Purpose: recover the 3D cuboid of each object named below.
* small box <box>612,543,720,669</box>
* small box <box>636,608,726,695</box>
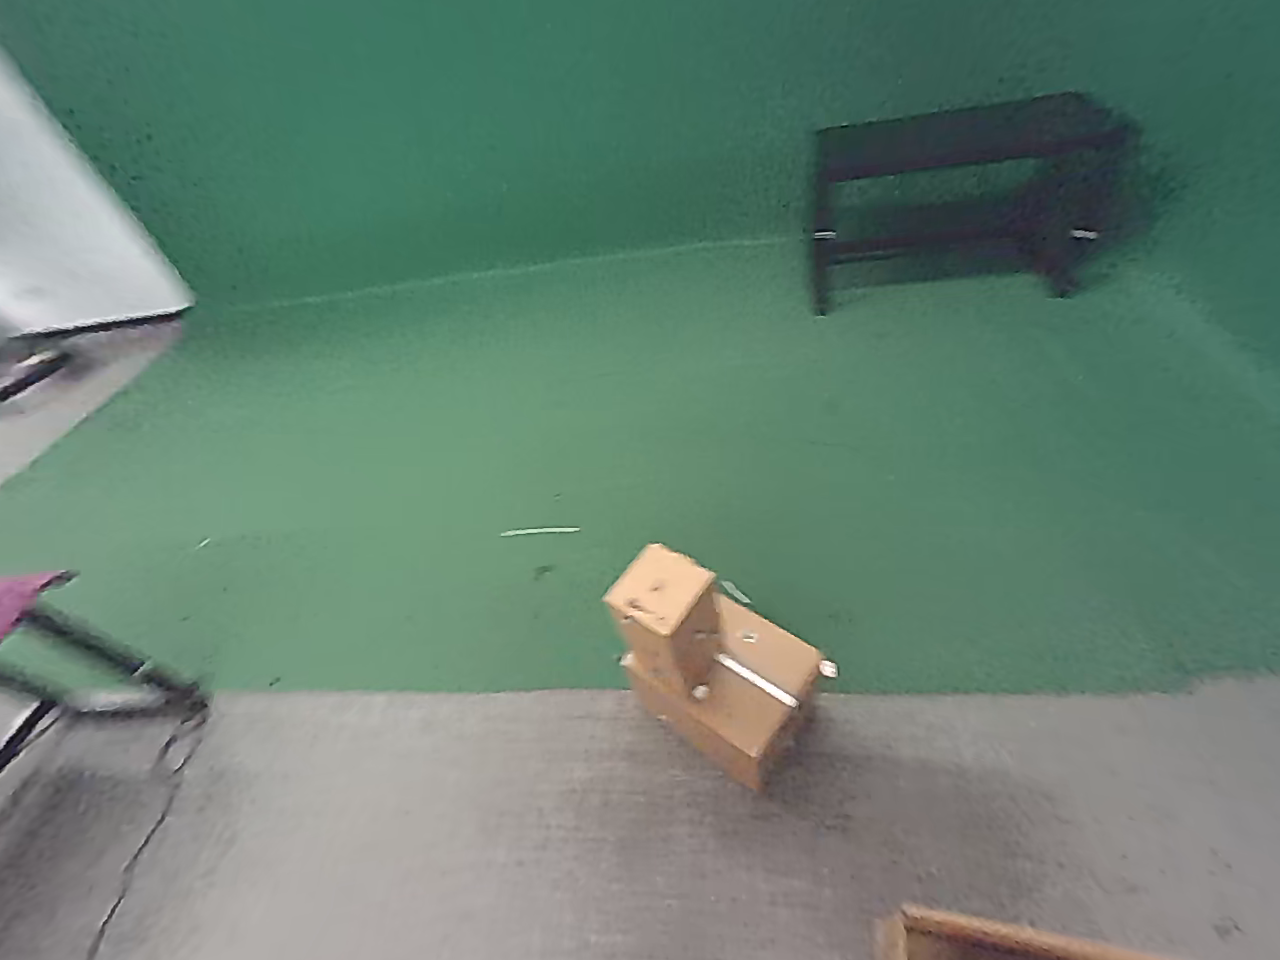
[{"bbox_3d":[0.065,0.281,1.201,0.168,0.176,0.179,26,57,32],"label":"small box"},{"bbox_3d":[0.098,0.385,1.324,0.168,0.176,0.179,26,58,32],"label":"small box"}]
